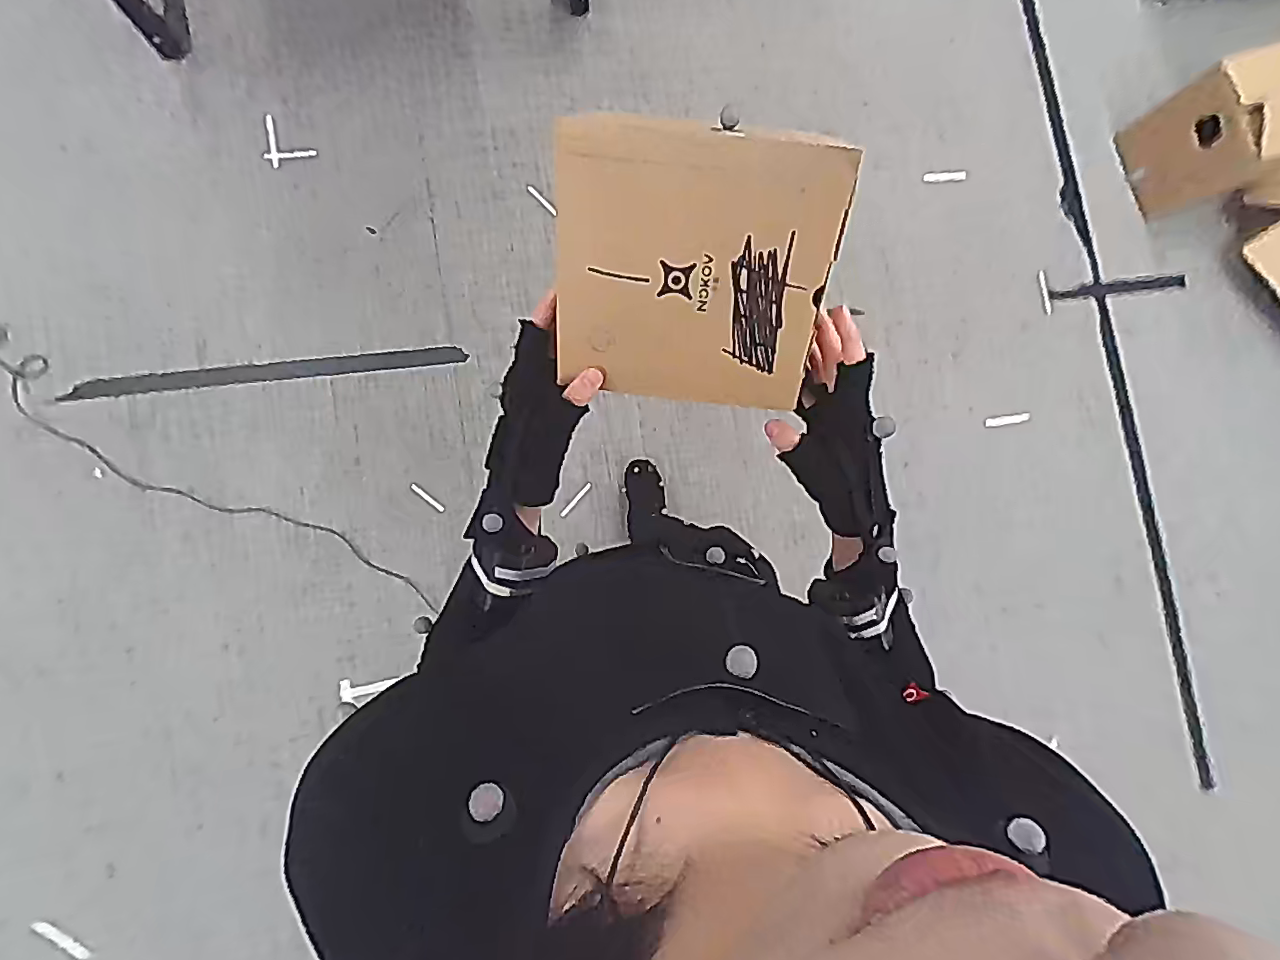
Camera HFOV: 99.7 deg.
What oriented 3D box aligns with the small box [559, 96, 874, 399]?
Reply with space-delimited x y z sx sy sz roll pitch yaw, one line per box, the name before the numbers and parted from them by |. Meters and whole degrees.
small box | 0.042 -0.178 0.403 0.179 0.176 0.168 7 125 2
